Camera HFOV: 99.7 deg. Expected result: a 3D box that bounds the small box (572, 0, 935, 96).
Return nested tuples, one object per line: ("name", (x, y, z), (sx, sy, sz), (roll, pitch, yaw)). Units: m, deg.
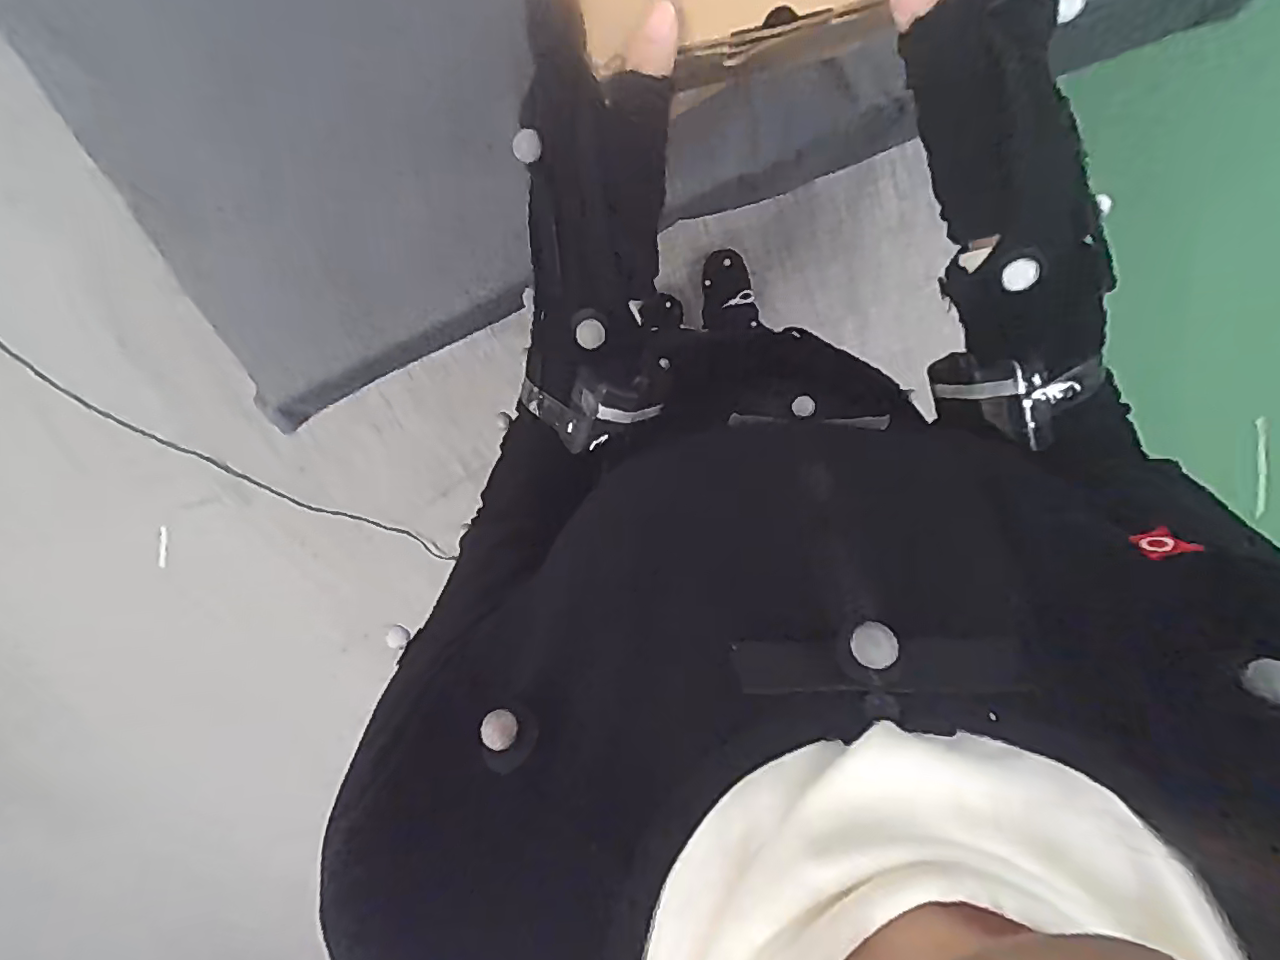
("small box", (0.042, -0.308, 0.262), (0.168, 0.176, 0.179), (-9, 119, 6))
